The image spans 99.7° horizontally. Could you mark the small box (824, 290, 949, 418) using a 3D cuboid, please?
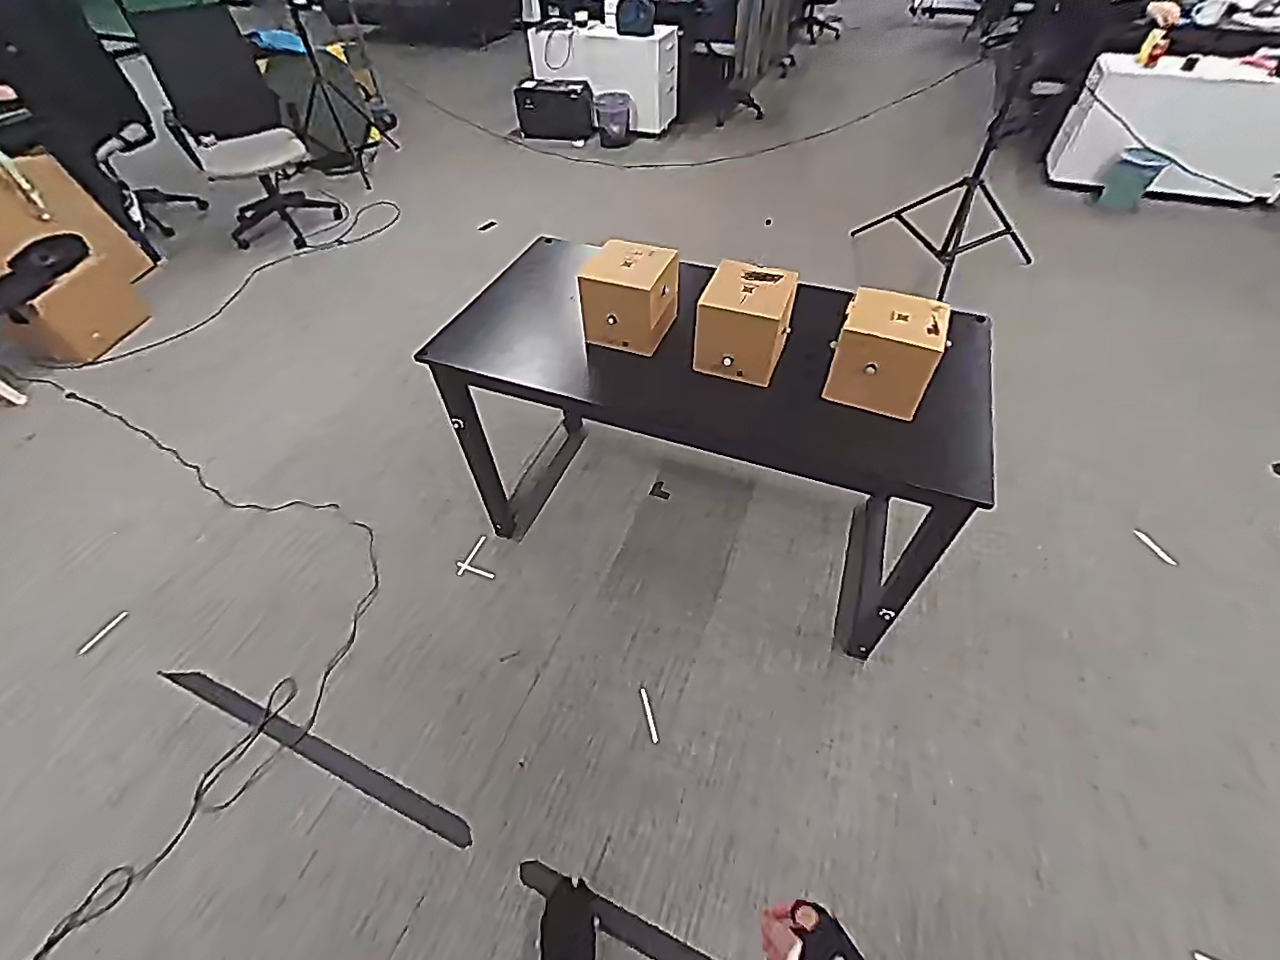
[{"bbox_3d":[0.478,-0.245,1.066,0.179,0.176,0.168,18,52,18],"label":"small box"}]

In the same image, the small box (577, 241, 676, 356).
[{"bbox_3d":[-0.023,-0.405,1.215,0.168,0.176,0.179,17,52,15],"label":"small box"}]

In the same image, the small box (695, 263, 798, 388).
[{"bbox_3d":[0.219,-0.325,1.141,0.168,0.176,0.179,17,53,15],"label":"small box"}]
